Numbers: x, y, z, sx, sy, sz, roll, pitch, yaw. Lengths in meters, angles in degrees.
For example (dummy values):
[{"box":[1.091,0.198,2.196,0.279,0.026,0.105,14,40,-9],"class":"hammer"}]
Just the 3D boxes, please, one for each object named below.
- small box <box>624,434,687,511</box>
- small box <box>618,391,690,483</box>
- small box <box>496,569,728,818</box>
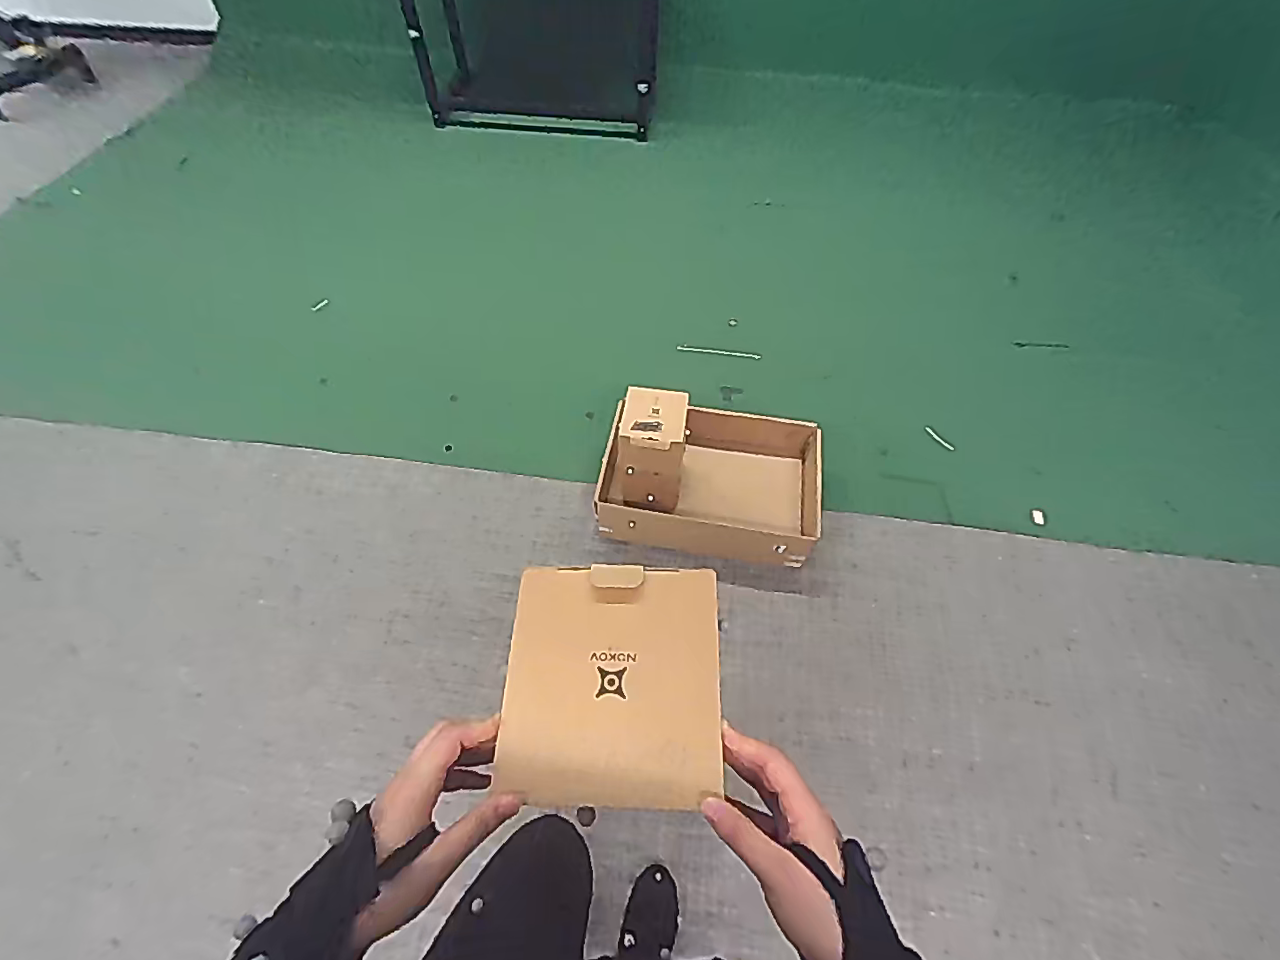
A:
[{"box":[0.044,-0.030,1.597,0.168,0.176,0.179,6,57,4],"class":"small box"},{"box":[0.039,-0.112,1.454,0.168,0.176,0.179,8,56,4],"class":"small box"},{"box":[-0.013,0.191,0.480,0.168,0.176,0.179,0,60,3],"class":"small box"}]
